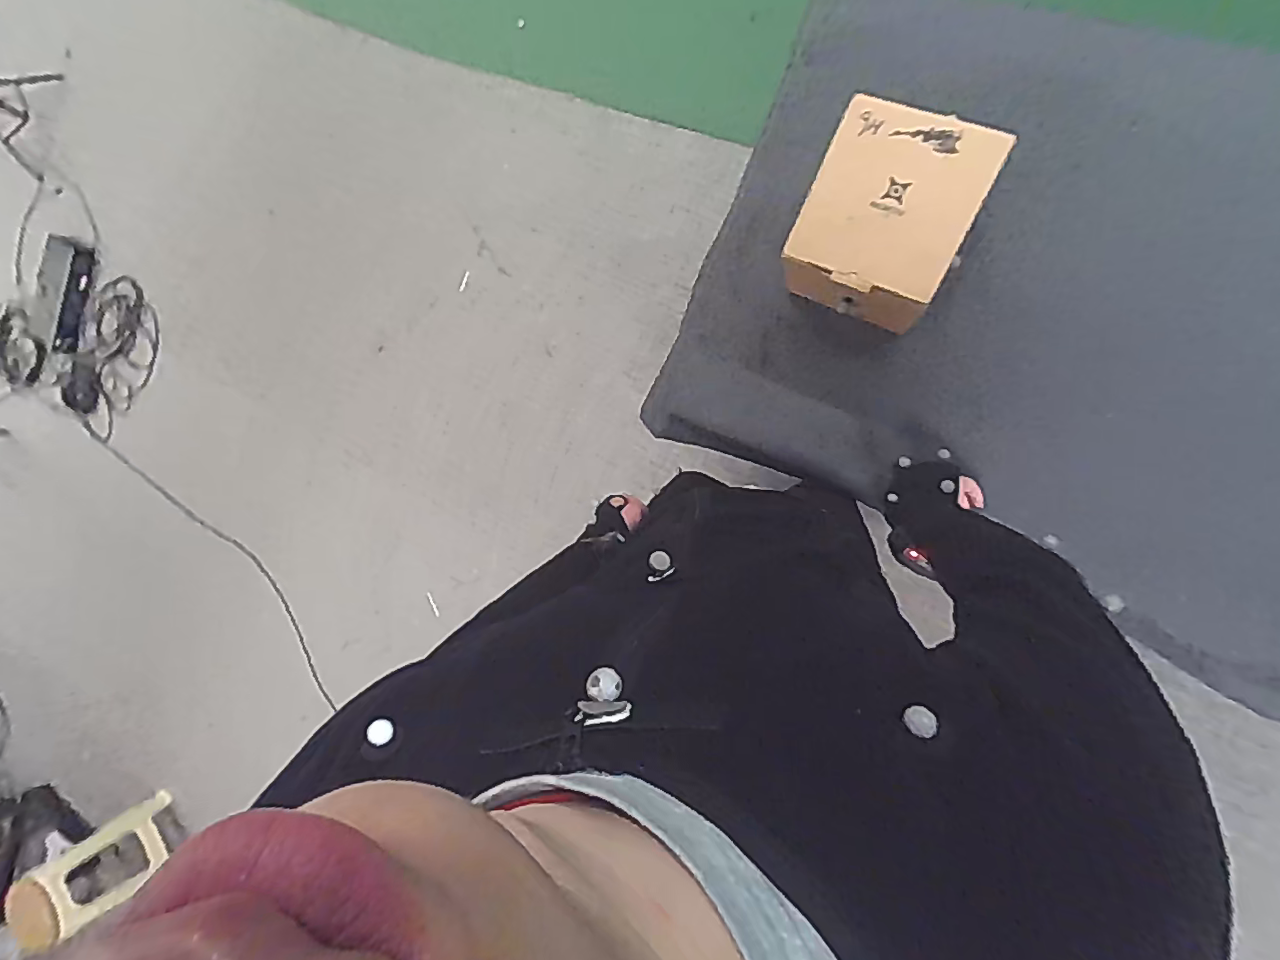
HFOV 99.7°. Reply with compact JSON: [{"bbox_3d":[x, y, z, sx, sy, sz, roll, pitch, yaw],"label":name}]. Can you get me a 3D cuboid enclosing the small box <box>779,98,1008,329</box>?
[{"bbox_3d":[0.284,-0.296,0.641,0.168,0.176,0.179,27,103,14],"label":"small box"}]
